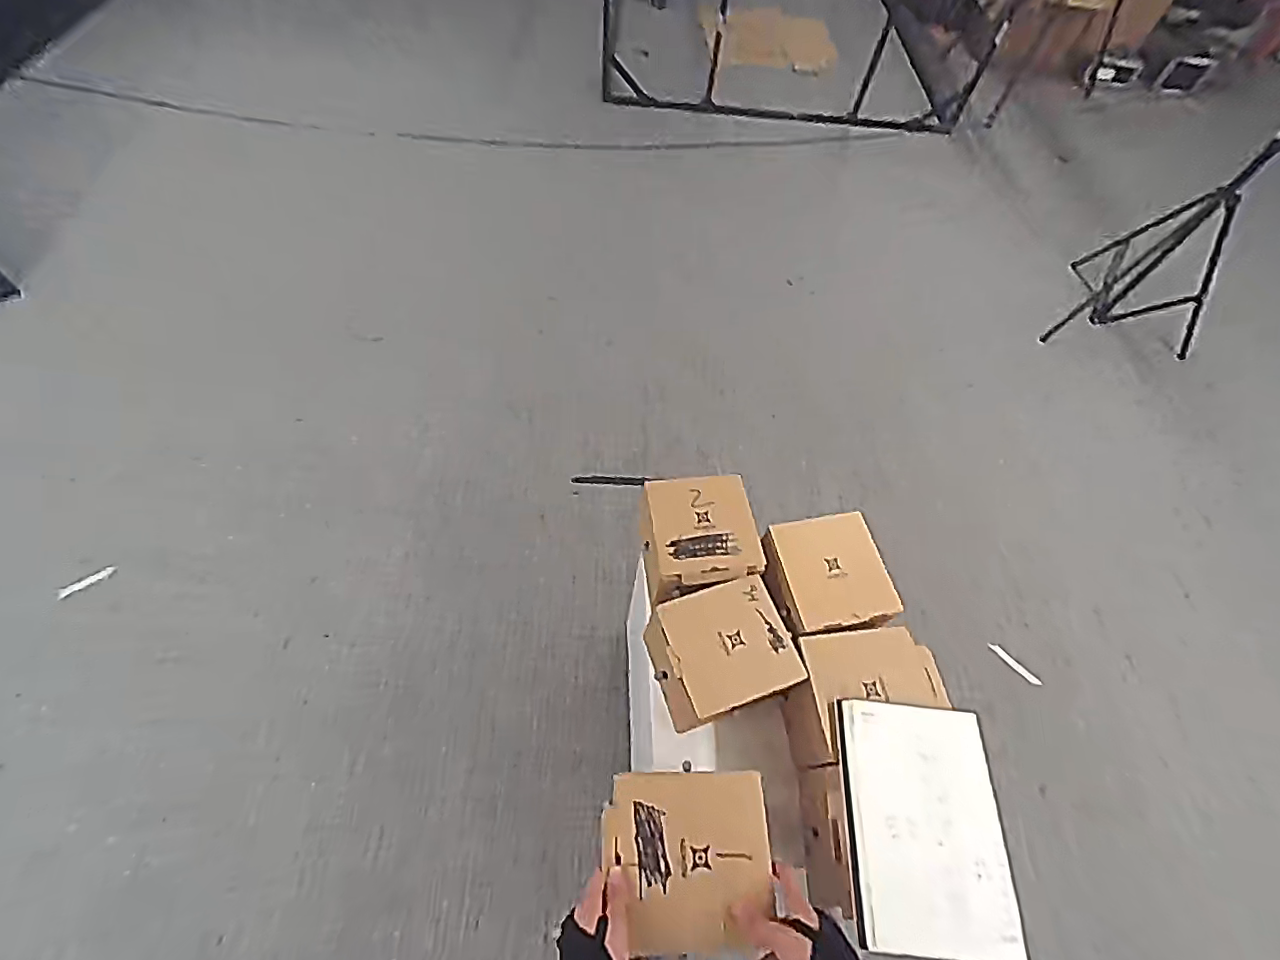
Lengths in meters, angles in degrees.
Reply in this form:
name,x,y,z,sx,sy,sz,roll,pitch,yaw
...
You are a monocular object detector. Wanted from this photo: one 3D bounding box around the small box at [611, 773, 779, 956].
name,x,y,z,sx,sy,sz,roll,pitch,yaw
small box,0.053,0.459,0.664,0.179,0.176,0.168,1,60,-4
